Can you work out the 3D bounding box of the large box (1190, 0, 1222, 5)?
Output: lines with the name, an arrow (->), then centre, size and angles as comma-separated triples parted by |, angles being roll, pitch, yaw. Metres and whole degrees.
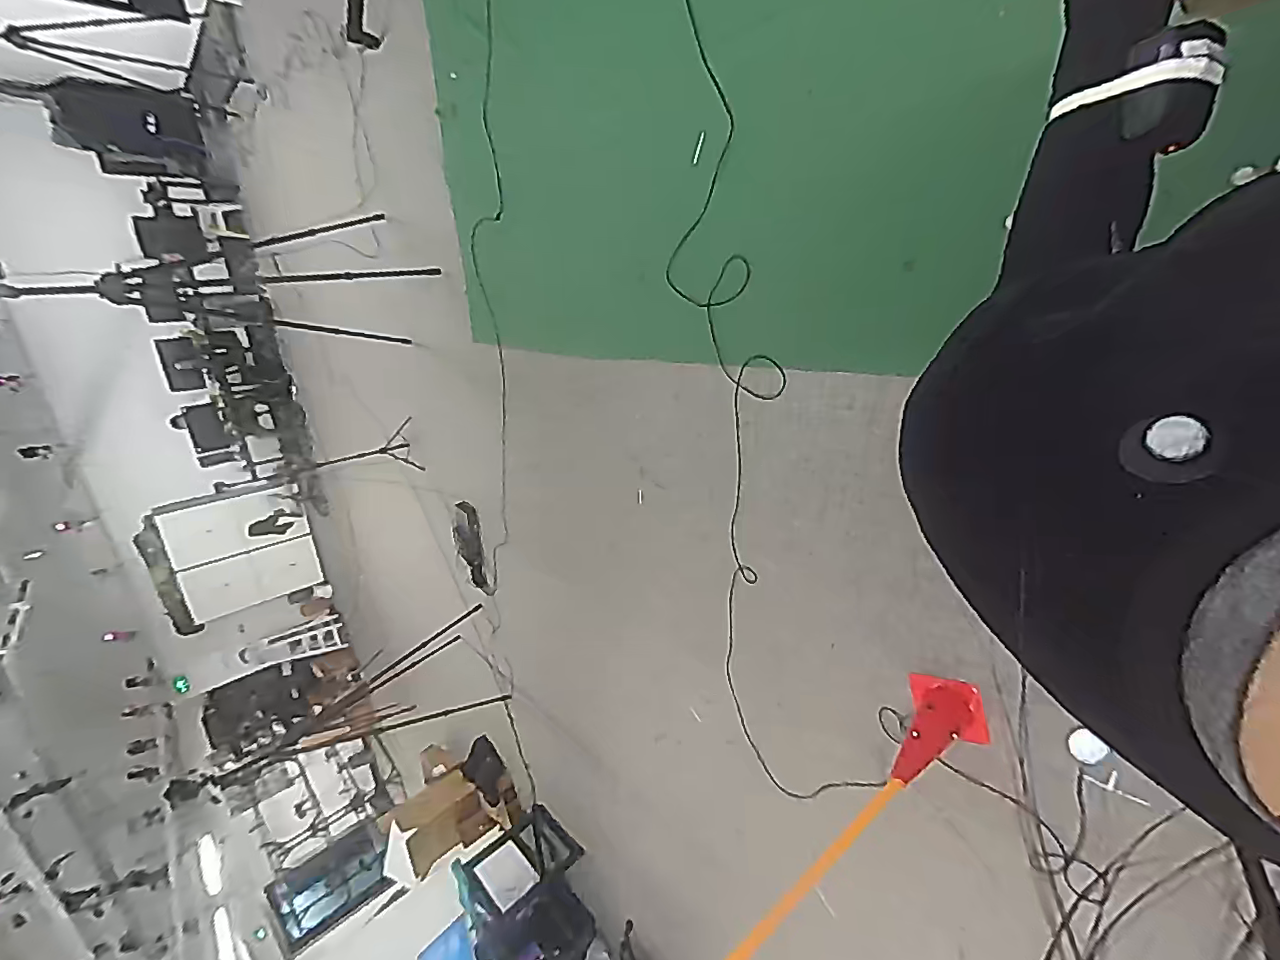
large box -> 0.535, -0.493, 0.232 | 0.408, 0.320, 0.320 | 10, 123, 44
